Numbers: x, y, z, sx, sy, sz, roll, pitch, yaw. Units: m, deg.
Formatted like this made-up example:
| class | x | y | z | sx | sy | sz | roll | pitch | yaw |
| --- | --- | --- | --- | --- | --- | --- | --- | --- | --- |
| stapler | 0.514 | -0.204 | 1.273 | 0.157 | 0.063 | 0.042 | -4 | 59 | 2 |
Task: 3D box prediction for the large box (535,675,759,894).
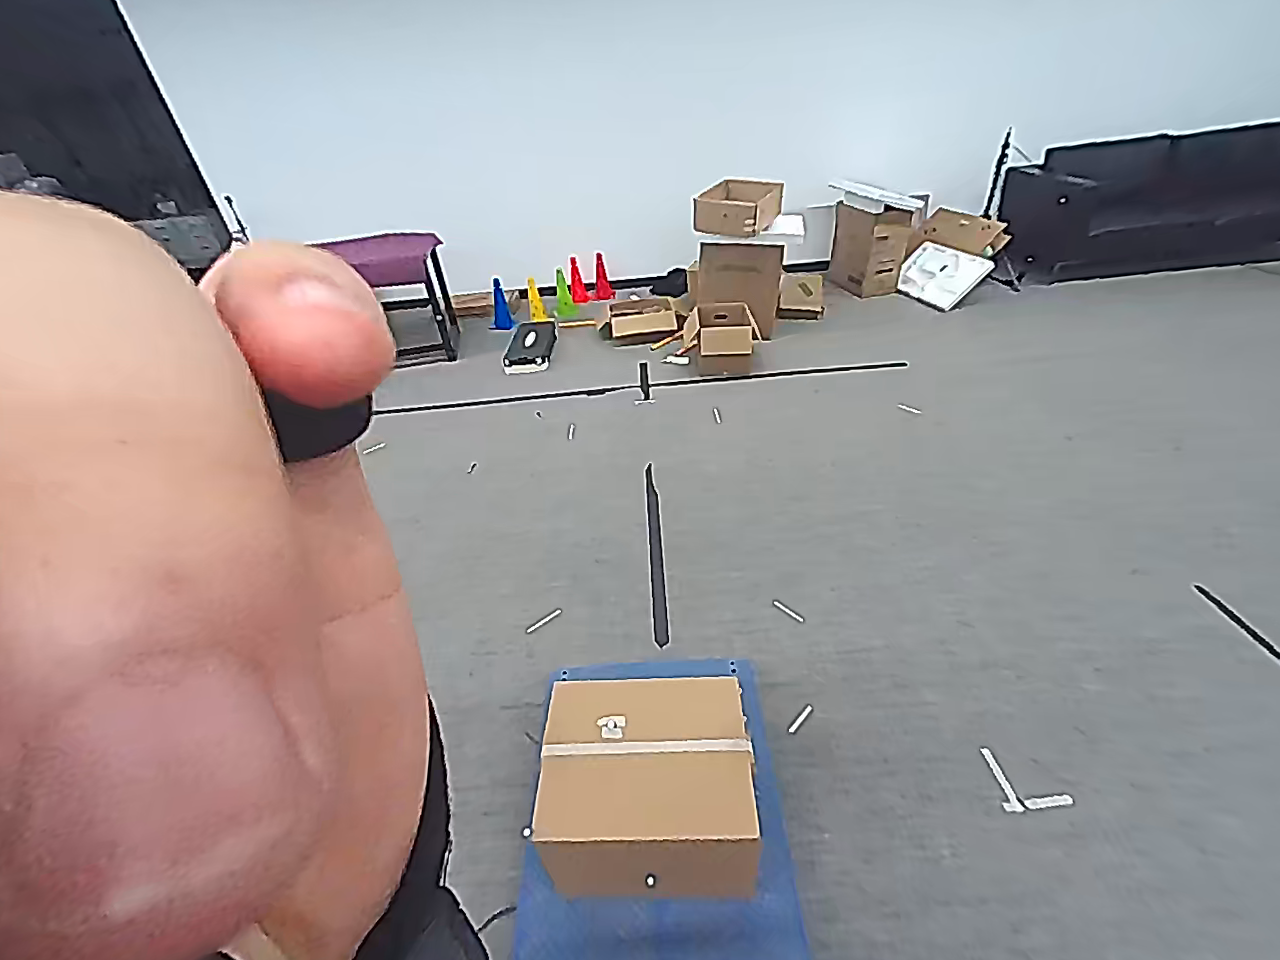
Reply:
| class | x | y | z | sx | sy | sz | roll | pitch | yaw |
| --- | --- | --- | --- | --- | --- | --- | --- | --- | --- |
| large box | 0.025 | 0.652 | 1.158 | 0.408 | 0.320 | 0.320 | -4 | 36 | 4 |
